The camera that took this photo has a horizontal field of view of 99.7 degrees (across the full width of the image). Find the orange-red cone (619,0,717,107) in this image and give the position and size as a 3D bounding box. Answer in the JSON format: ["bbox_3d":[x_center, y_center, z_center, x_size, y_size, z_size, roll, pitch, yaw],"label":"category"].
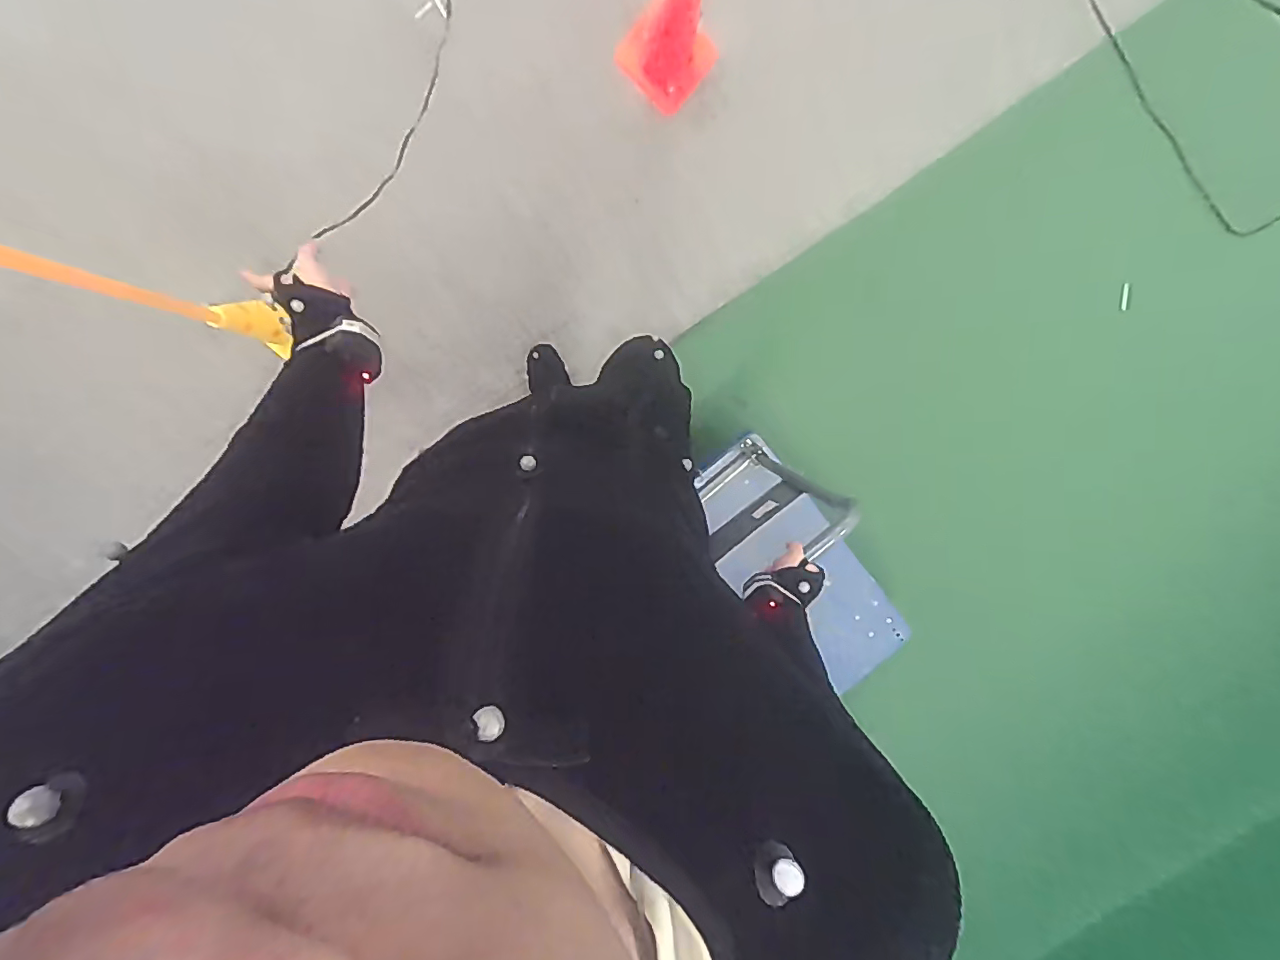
[{"bbox_3d":[0.094,-1.048,1.204,0.198,0.360,0.199,40,96,-15],"label":"orange-red cone"}]
